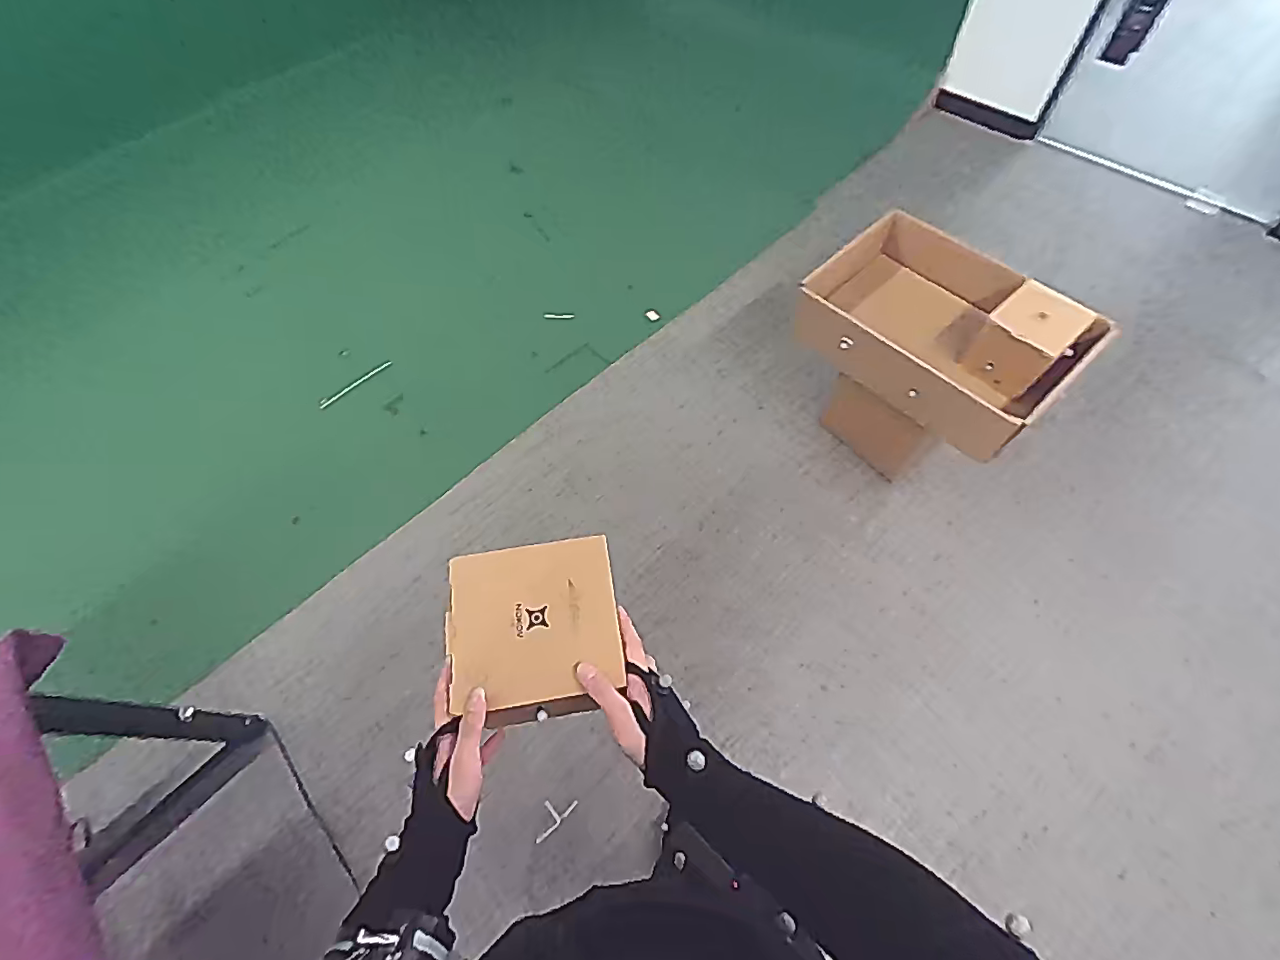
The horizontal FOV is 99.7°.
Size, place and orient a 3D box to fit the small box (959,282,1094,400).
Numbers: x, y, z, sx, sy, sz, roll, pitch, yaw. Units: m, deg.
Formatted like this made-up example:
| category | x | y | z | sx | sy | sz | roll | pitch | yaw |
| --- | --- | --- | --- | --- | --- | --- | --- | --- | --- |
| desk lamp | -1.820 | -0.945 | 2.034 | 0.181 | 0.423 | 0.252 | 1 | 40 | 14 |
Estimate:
| category | x | y | z | sx | sy | sz | roll | pitch | yaw |
| --- | --- | --- | --- | --- | --- | --- | --- | --- | --- |
| small box | 0.914 | -0.330 | 1.299 | 0.179 | 0.176 | 0.168 | -39 | 66 | -13 |

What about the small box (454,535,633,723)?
| category | x | y | z | sx | sy | sz | roll | pitch | yaw |
| --- | --- | --- | --- | --- | --- | --- | --- | --- | --- |
| small box | -0.104 | 0.180 | 0.632 | 0.179 | 0.176 | 0.168 | -7 | 62 | -5 |
